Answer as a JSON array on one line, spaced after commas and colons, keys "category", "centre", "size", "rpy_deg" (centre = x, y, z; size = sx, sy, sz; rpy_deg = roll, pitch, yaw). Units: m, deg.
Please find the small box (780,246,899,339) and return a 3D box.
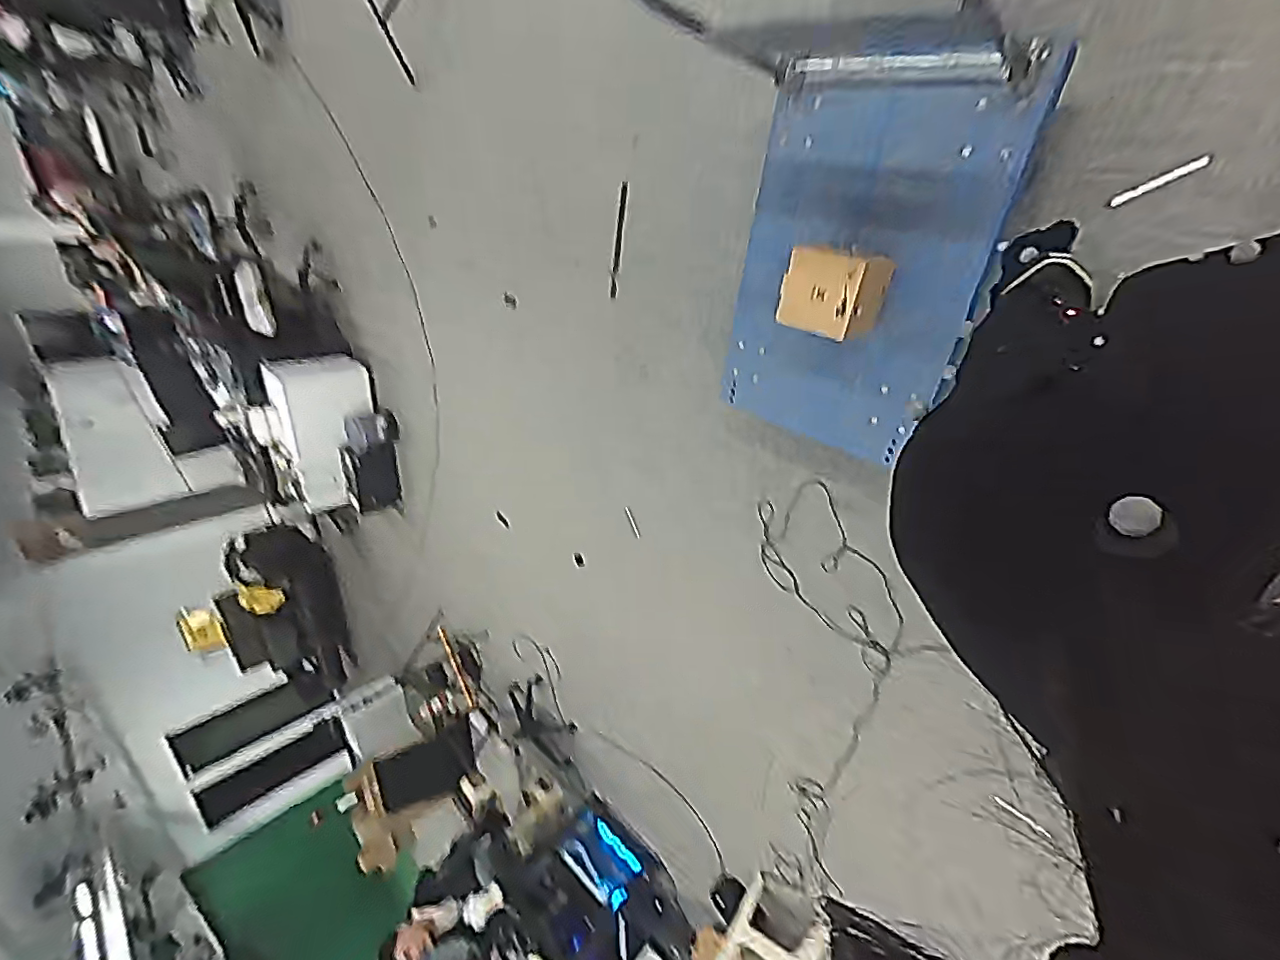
[{"category": "small box", "centre": [0.457, -0.434, 1.243], "size": [0.179, 0.176, 0.168], "rpy_deg": [31, 127, 35]}]
